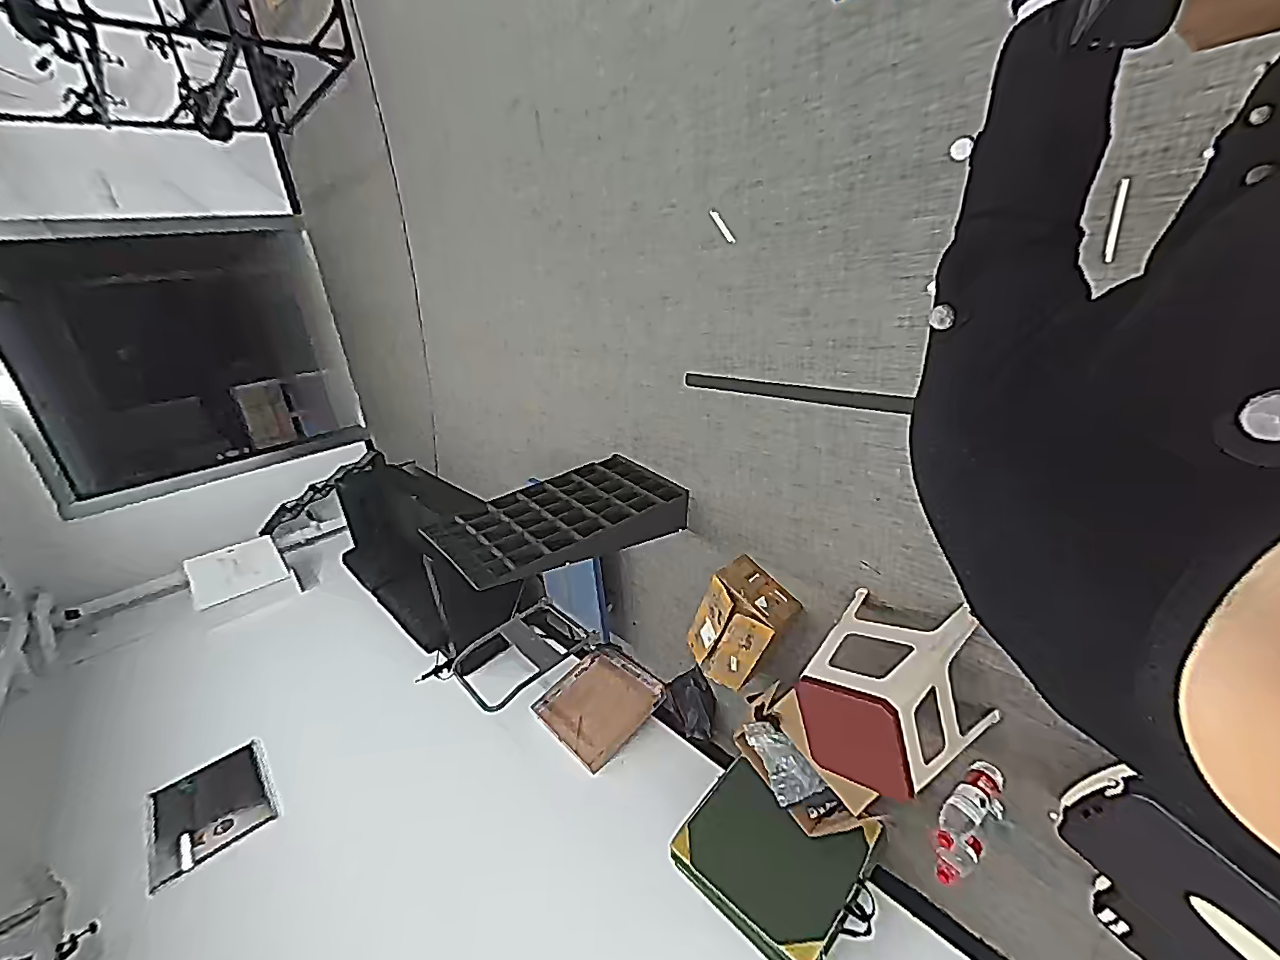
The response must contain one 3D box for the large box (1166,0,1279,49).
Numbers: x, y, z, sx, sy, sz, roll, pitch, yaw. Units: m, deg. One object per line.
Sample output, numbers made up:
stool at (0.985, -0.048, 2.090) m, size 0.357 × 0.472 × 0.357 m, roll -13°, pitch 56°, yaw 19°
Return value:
large box at (0.530, -0.464, 0.231) m, size 0.408 × 0.320 × 0.320 m, roll 14°, pitch 121°, yaw 44°
